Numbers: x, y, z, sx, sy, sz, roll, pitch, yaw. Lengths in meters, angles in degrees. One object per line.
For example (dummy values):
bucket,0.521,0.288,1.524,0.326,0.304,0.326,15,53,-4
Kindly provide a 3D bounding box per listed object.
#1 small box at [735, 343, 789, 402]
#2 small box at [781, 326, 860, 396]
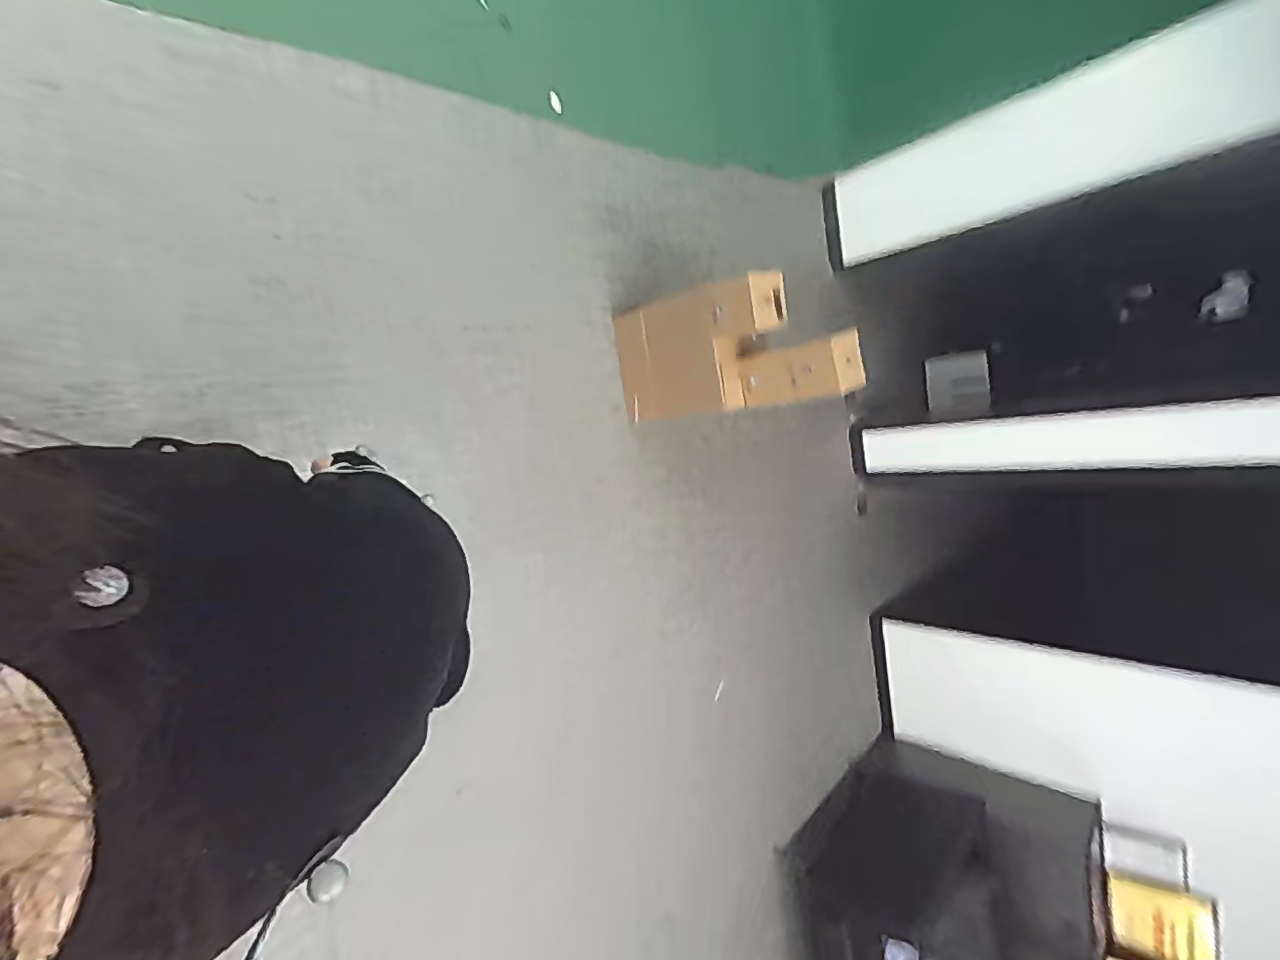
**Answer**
small box,0.441,-0.361,1.792,0.179,0.176,0.168,-22,103,-40
small box,0.552,-0.365,1.671,0.179,0.176,0.168,-25,106,-41
